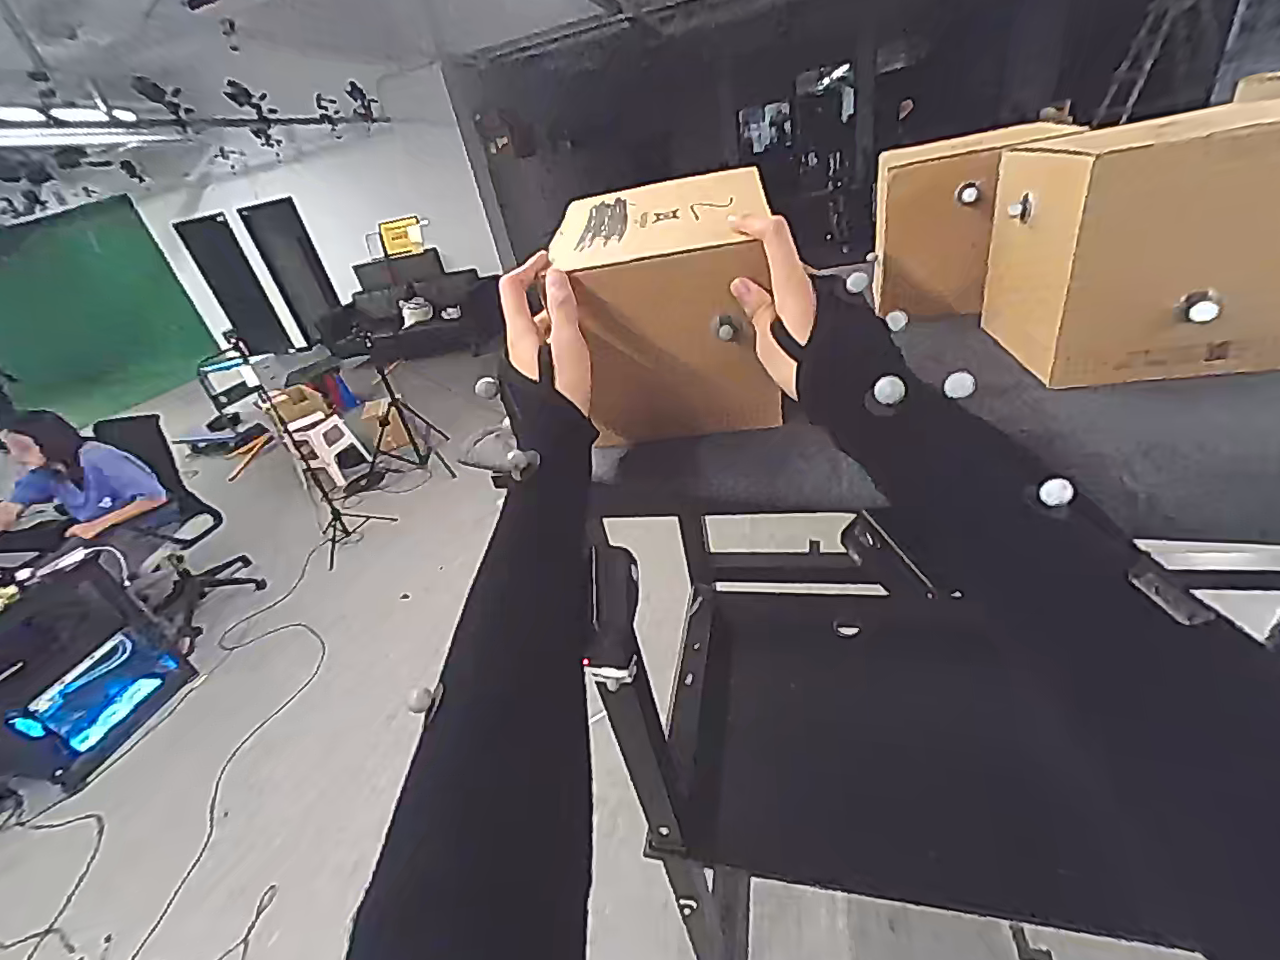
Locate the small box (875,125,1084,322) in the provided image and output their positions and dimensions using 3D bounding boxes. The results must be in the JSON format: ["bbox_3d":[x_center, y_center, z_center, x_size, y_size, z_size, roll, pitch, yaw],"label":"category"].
[{"bbox_3d":[0.376,-0.297,0.634,0.179,0.176,0.168,0,34,21],"label":"small box"}]

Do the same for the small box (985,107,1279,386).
[{"bbox_3d":[0.407,-0.189,0.442,0.168,0.176,0.179,-3,32,15],"label":"small box"}]
